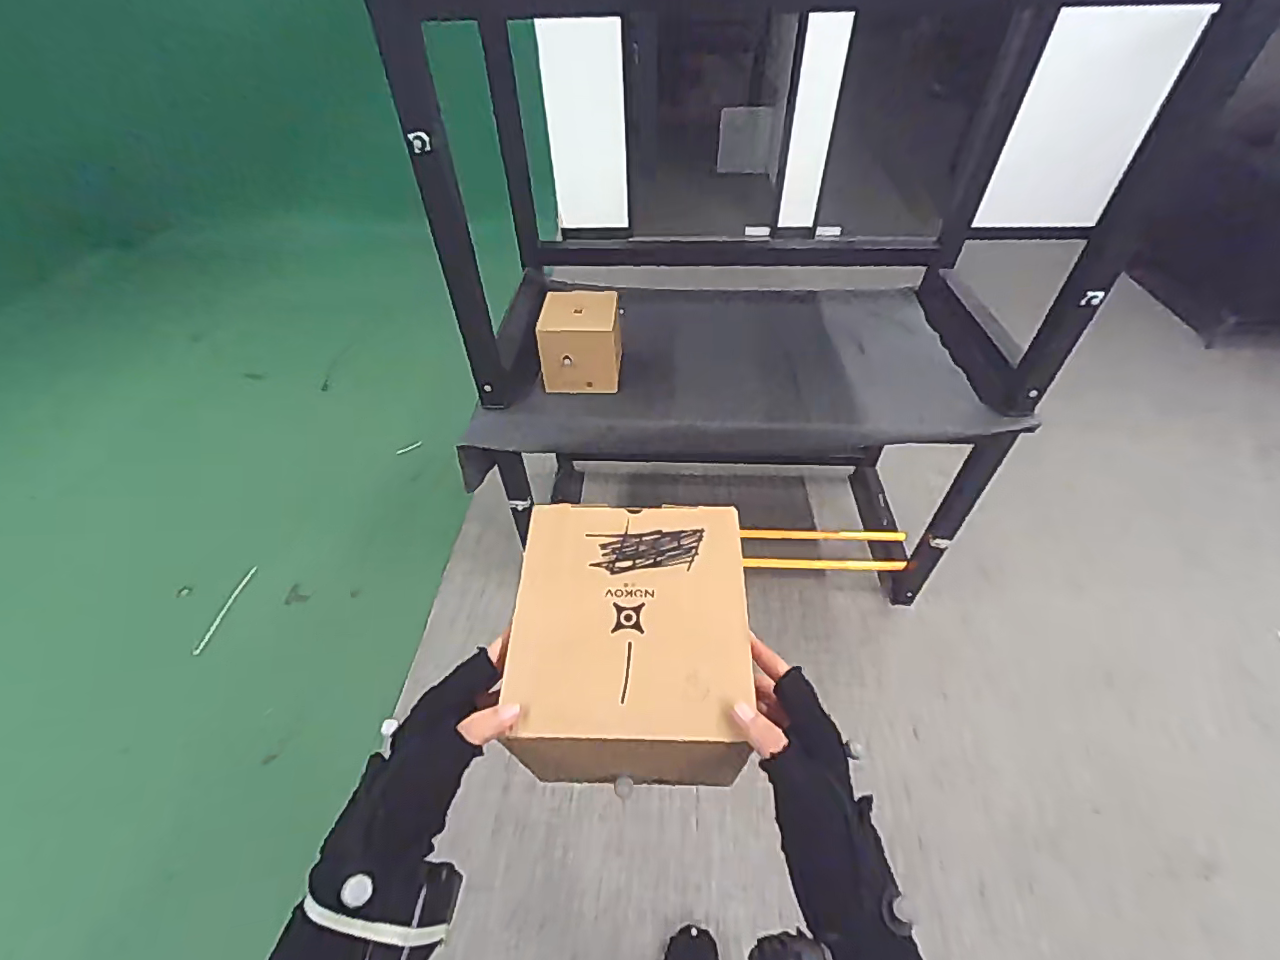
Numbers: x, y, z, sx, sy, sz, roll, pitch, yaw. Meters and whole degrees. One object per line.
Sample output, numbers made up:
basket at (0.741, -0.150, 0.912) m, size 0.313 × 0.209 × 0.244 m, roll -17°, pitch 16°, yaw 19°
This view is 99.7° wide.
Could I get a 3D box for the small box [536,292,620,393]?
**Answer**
small box at (-0.133, -0.315, 1.245) m, size 0.168 × 0.176 × 0.179 m, roll 0°, pitch 45°, yaw 2°
